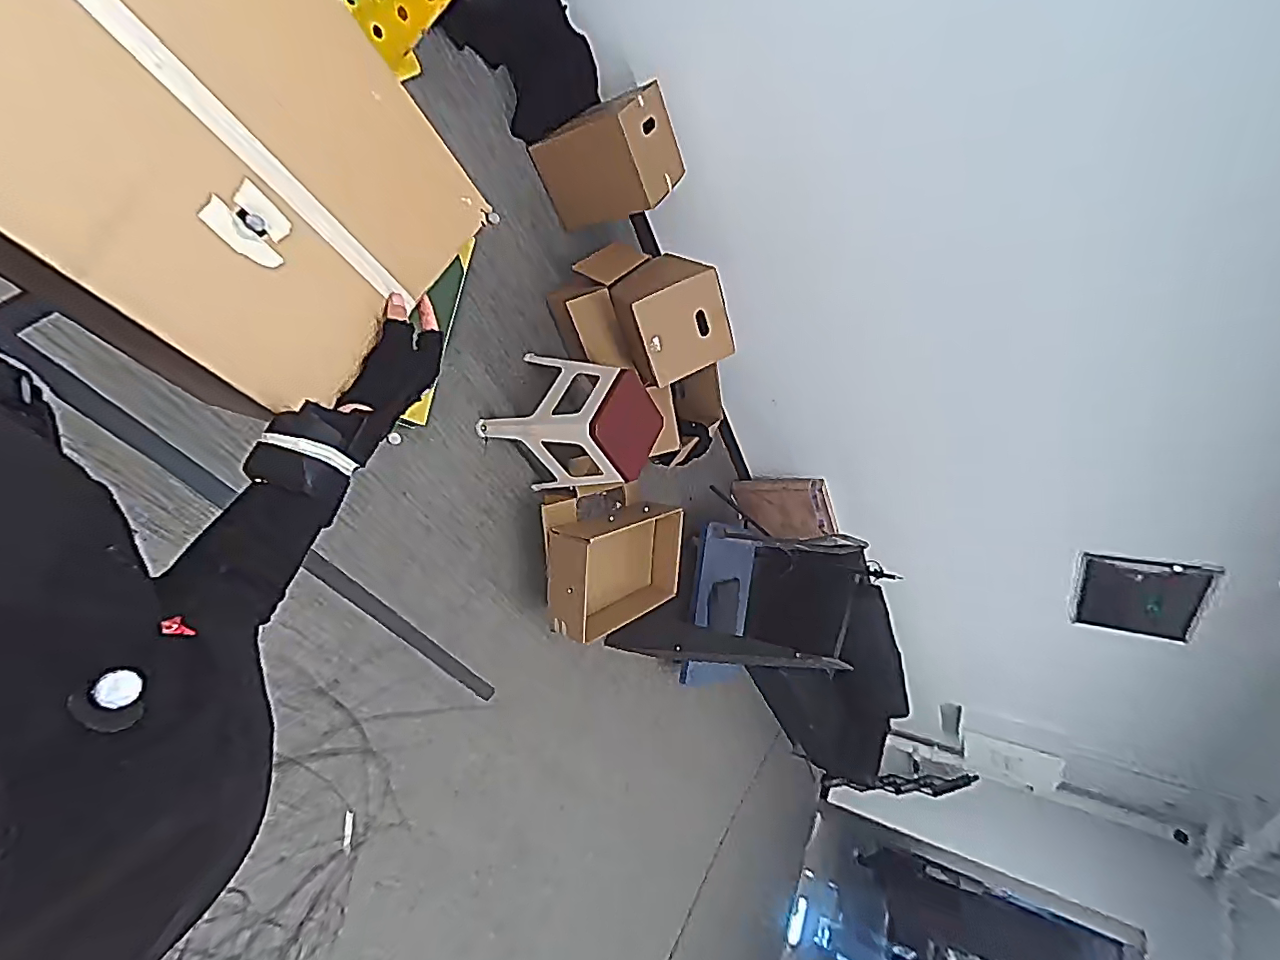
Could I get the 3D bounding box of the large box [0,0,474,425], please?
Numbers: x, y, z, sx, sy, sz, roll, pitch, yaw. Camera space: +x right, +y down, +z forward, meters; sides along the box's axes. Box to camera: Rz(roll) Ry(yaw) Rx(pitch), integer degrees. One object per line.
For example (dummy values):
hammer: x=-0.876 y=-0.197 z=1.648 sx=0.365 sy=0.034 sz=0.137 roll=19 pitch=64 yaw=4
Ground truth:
large box: x=-0.454 y=-0.303 z=0.497 sx=0.320 sy=0.320 sz=0.408 roll=-61 pitch=142 yaw=-19
